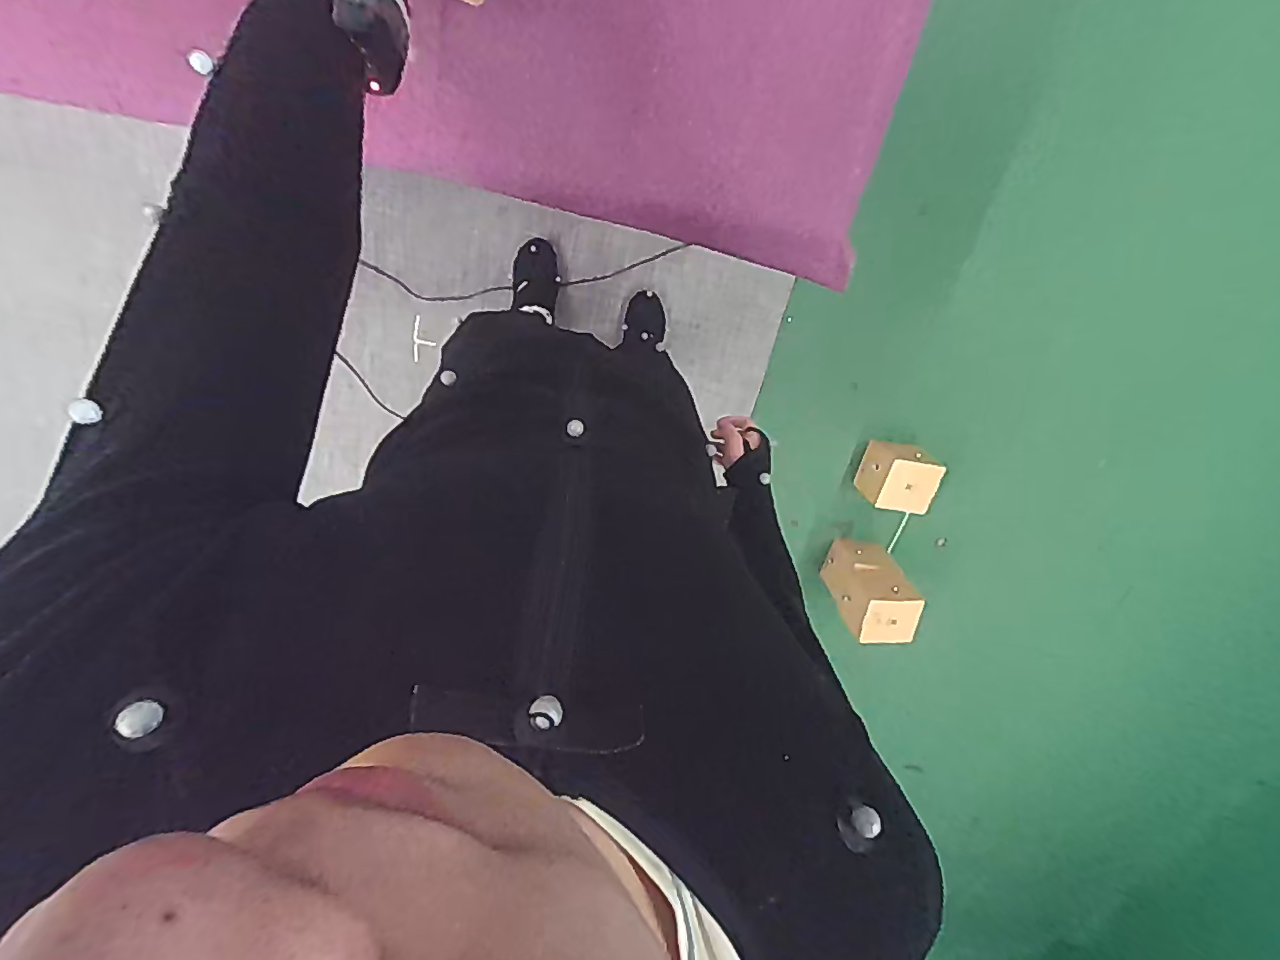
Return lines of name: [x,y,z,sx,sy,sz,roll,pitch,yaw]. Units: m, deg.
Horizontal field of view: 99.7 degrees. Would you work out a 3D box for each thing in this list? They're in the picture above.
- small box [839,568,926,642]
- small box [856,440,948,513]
small box: [0.759,0.392,1.709,0.179,0.176,0.168,2,116,-4]
small box: [0.811,-0.017,1.696,0.179,0.176,0.168,8,115,-9]
